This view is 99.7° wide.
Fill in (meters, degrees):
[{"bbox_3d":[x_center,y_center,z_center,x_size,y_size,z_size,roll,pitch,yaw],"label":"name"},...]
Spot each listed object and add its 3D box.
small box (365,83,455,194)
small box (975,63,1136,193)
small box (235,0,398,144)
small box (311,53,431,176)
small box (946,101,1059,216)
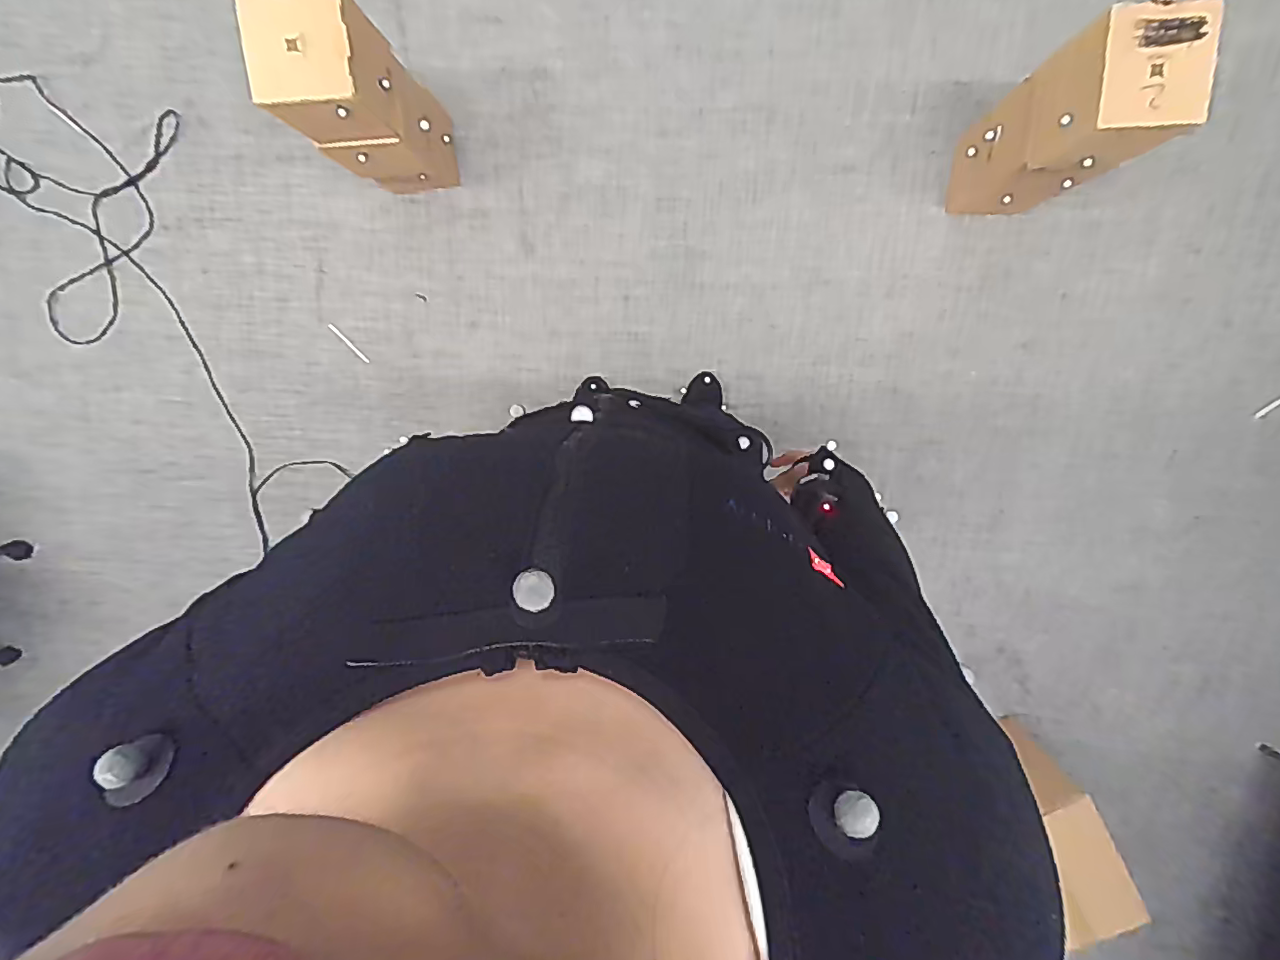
[{"bbox_3d":[-0.554,-0.796,1.276,0.179,0.176,0.168,-5,100,4],"label":"small box"},{"bbox_3d":[0.808,-0.684,1.069,0.179,0.176,0.168,3,100,3],"label":"small box"},{"bbox_3d":[-0.561,-0.720,0.958,0.179,0.176,0.168,-3,101,2],"label":"small box"},{"bbox_3d":[-0.558,-0.746,1.119,0.179,0.176,0.168,-2,102,2],"label":"small box"},{"bbox_3d":[0.826,-0.721,1.226,0.168,0.176,0.179,3,101,2],"label":"small box"}]
